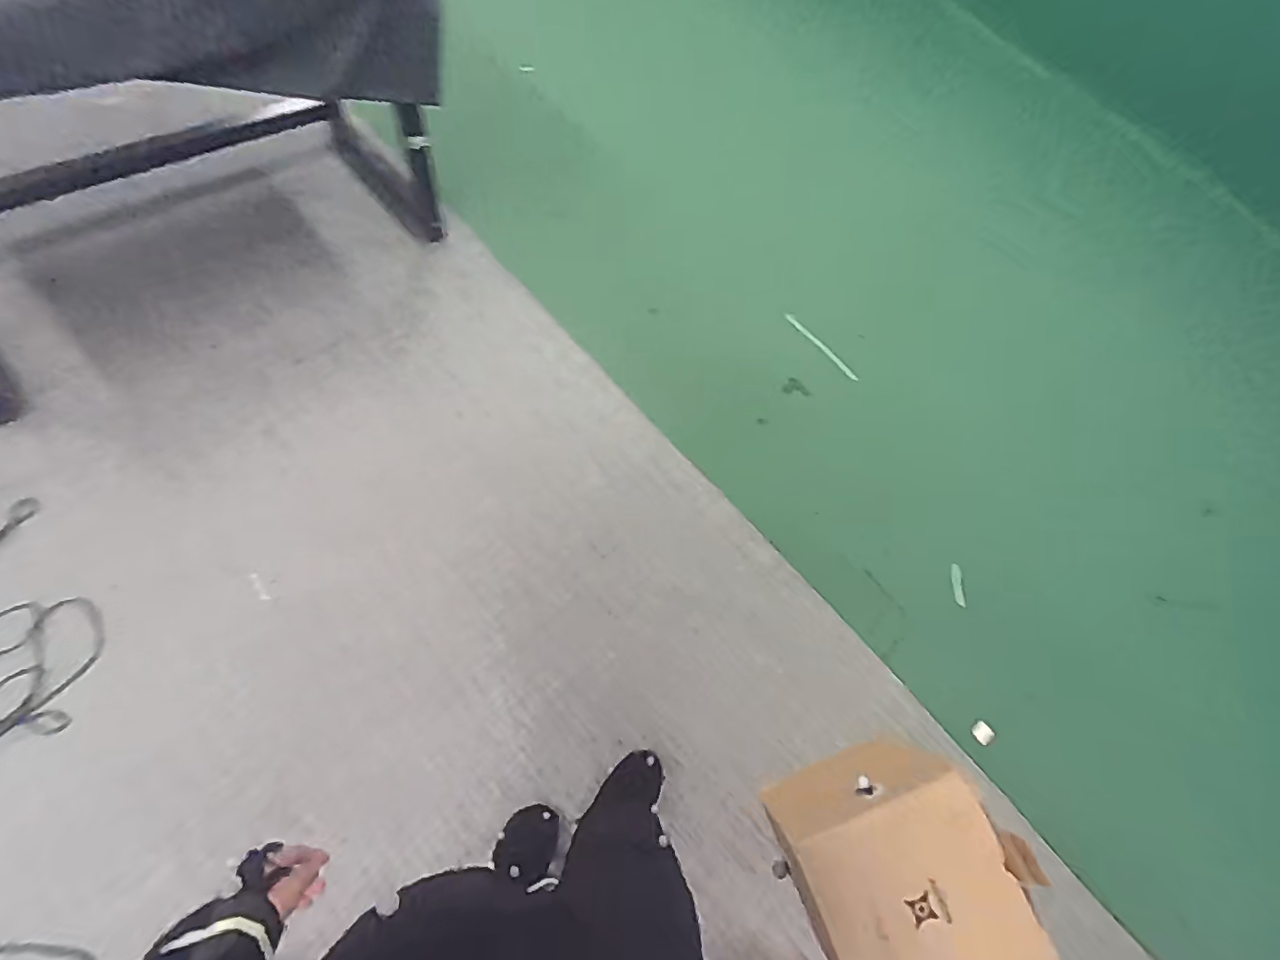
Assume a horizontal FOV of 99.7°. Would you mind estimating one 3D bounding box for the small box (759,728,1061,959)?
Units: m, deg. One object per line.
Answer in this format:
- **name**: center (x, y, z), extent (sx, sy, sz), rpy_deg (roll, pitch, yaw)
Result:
- **small box**: center (0.243, 0.371, 0.537), extent (0.179, 0.176, 0.168), rpy_deg (-23, 77, -6)
